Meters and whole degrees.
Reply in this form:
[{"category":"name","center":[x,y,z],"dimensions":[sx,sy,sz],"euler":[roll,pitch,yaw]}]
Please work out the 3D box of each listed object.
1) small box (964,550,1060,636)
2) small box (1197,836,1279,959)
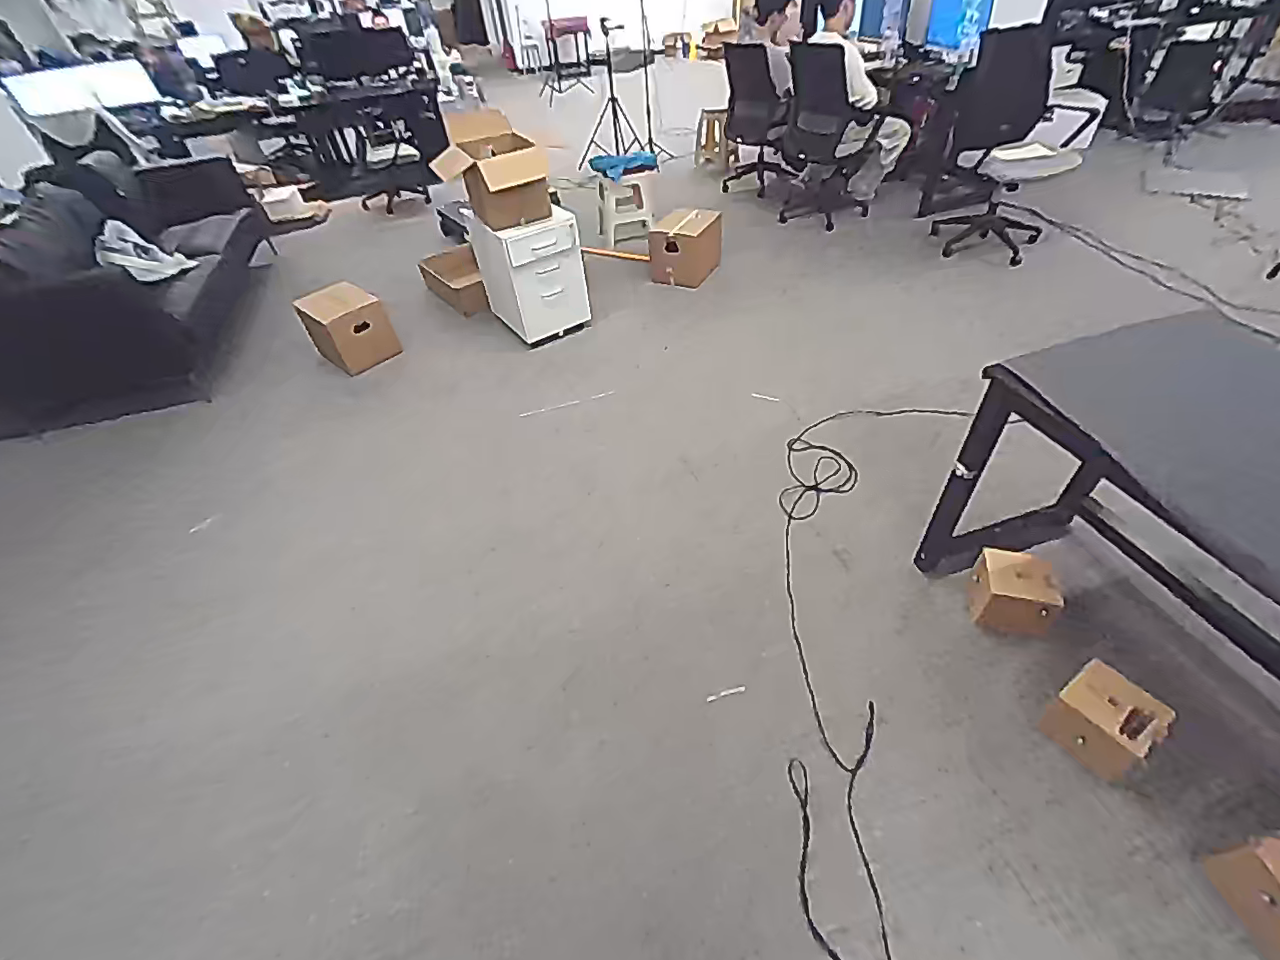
[{"category":"small box","center":[1.062,0.329,1.565],"dimensions":[0.179,0.176,0.168],"euler":[9,45,14]},{"category":"small box","center":[1.260,0.806,1.040],"dimensions":[0.168,0.176,0.179],"euler":[-11,45,-5]}]
